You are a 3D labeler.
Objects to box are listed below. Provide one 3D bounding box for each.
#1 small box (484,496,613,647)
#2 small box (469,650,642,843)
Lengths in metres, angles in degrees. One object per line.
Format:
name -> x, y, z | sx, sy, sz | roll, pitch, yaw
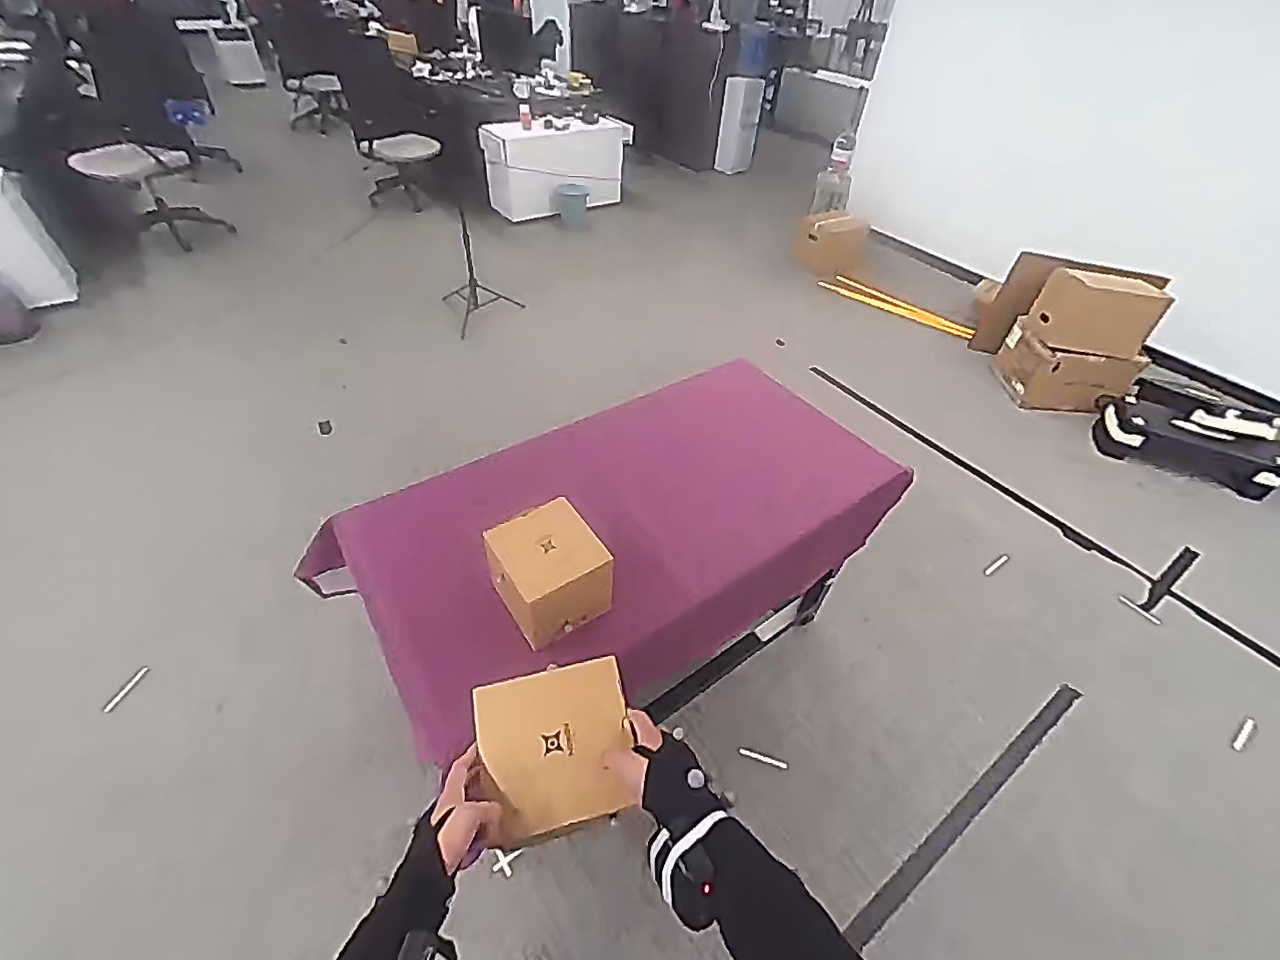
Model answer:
small box -> -0.164, 0.167, 0.982 | 0.168, 0.176, 0.179 | -25, 53, -25
small box -> -0.104, 0.336, 0.676 | 0.179, 0.176, 0.168 | -10, 57, -12
